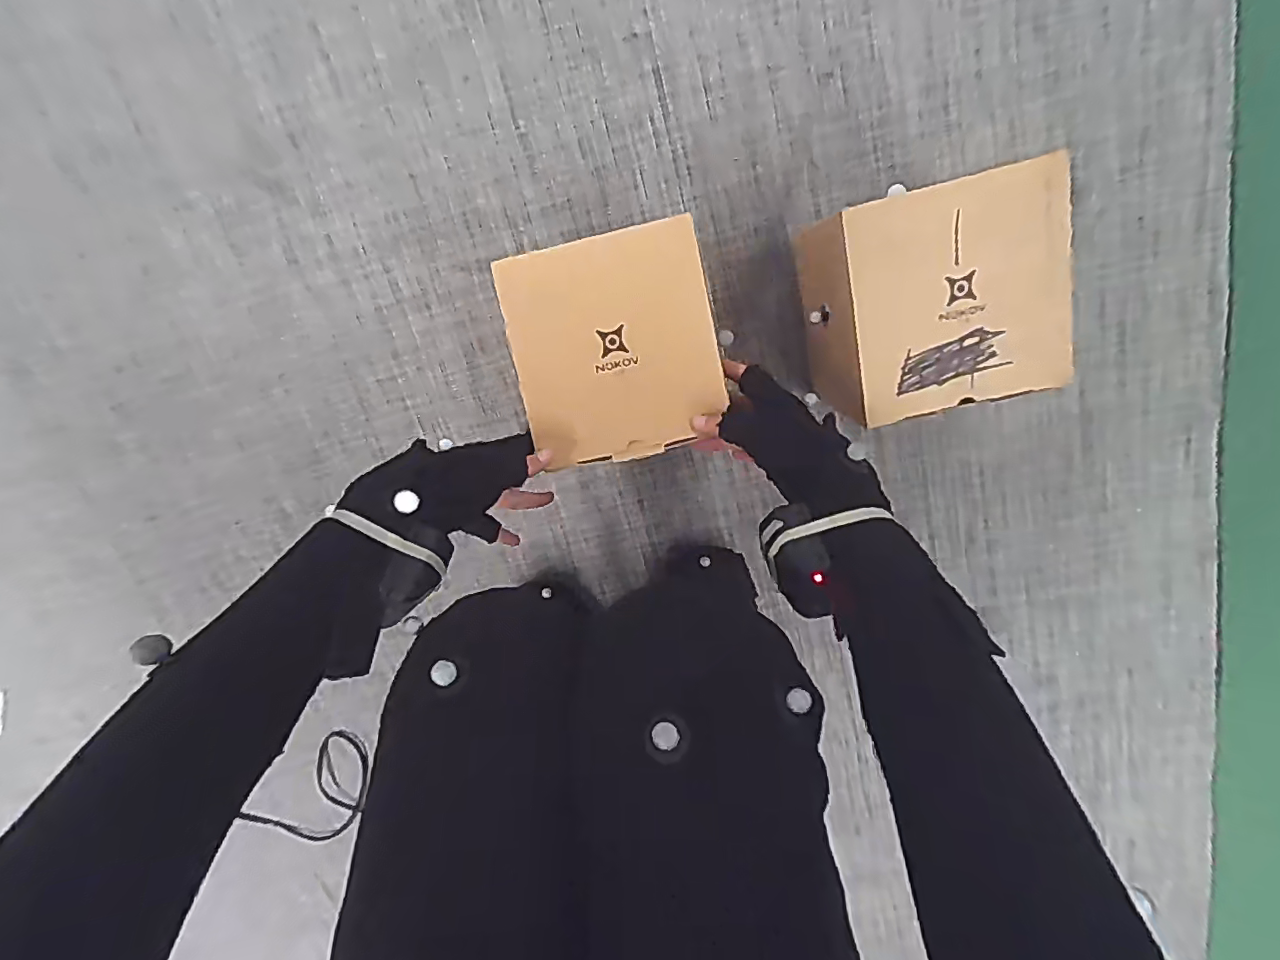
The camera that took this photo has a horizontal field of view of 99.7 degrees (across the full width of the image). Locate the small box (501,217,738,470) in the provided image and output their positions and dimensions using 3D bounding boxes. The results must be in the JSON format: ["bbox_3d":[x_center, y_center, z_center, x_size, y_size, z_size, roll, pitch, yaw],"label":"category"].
[{"bbox_3d":[-0.013,-0.117,0.516,0.168,0.176,0.179,-12,97,5],"label":"small box"}]

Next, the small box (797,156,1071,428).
[{"bbox_3d":[0.255,-0.164,0.502,0.168,0.176,0.179,-12,105,6],"label":"small box"}]
